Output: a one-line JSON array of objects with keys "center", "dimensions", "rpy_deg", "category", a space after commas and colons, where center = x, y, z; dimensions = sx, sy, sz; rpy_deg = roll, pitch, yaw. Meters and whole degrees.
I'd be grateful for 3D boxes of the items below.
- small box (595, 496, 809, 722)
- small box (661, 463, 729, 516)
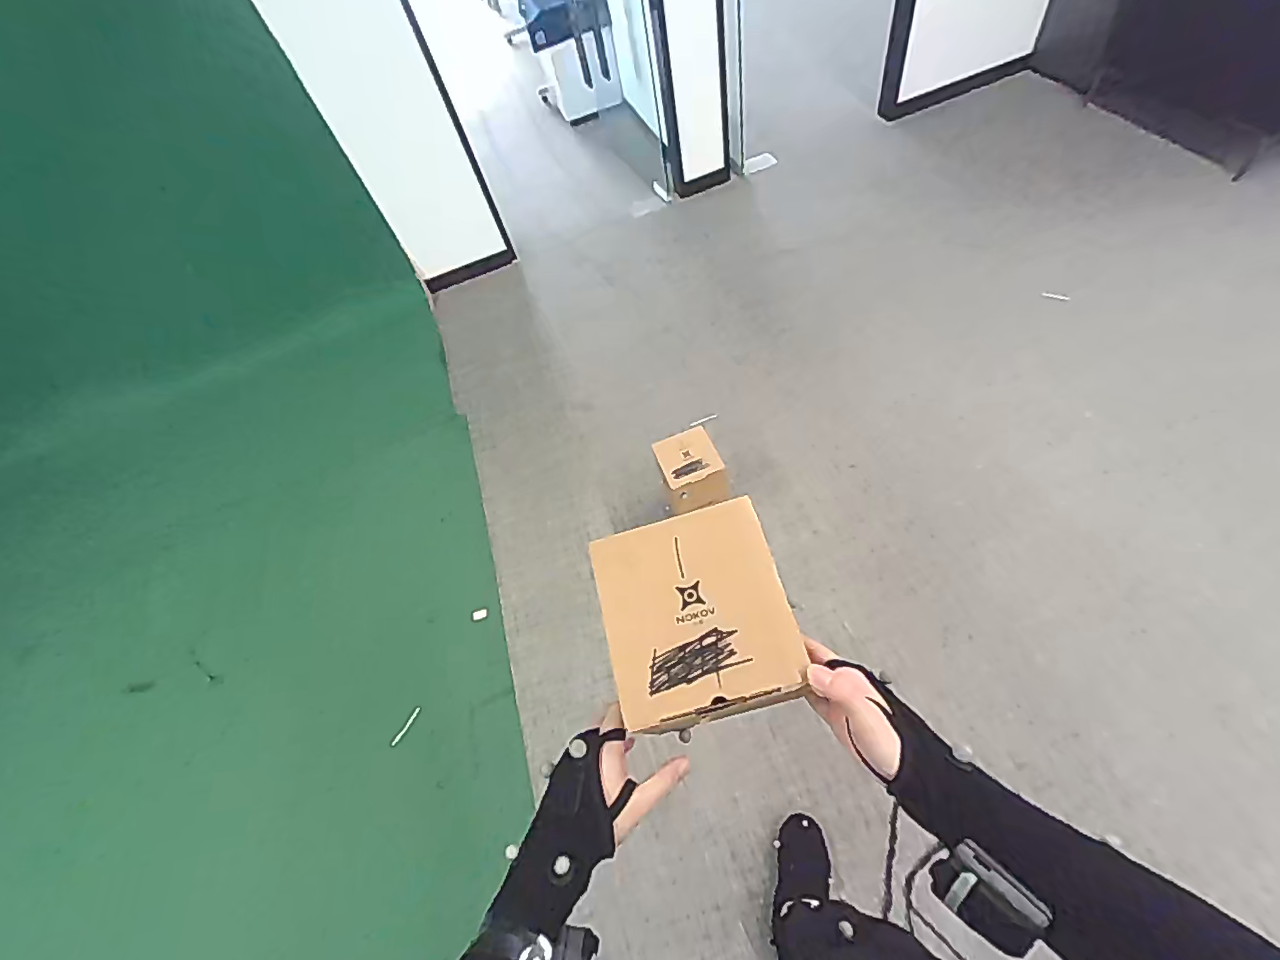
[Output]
[{"center": [0.065, 0.145, 0.566], "dimensions": [0.168, 0.176, 0.179], "rpy_deg": [-16, 61, 4], "category": "small box"}, {"center": [0.185, 0.079, 1.764], "dimensions": [0.179, 0.176, 0.168], "rpy_deg": [-21, 55, -2], "category": "small box"}]
